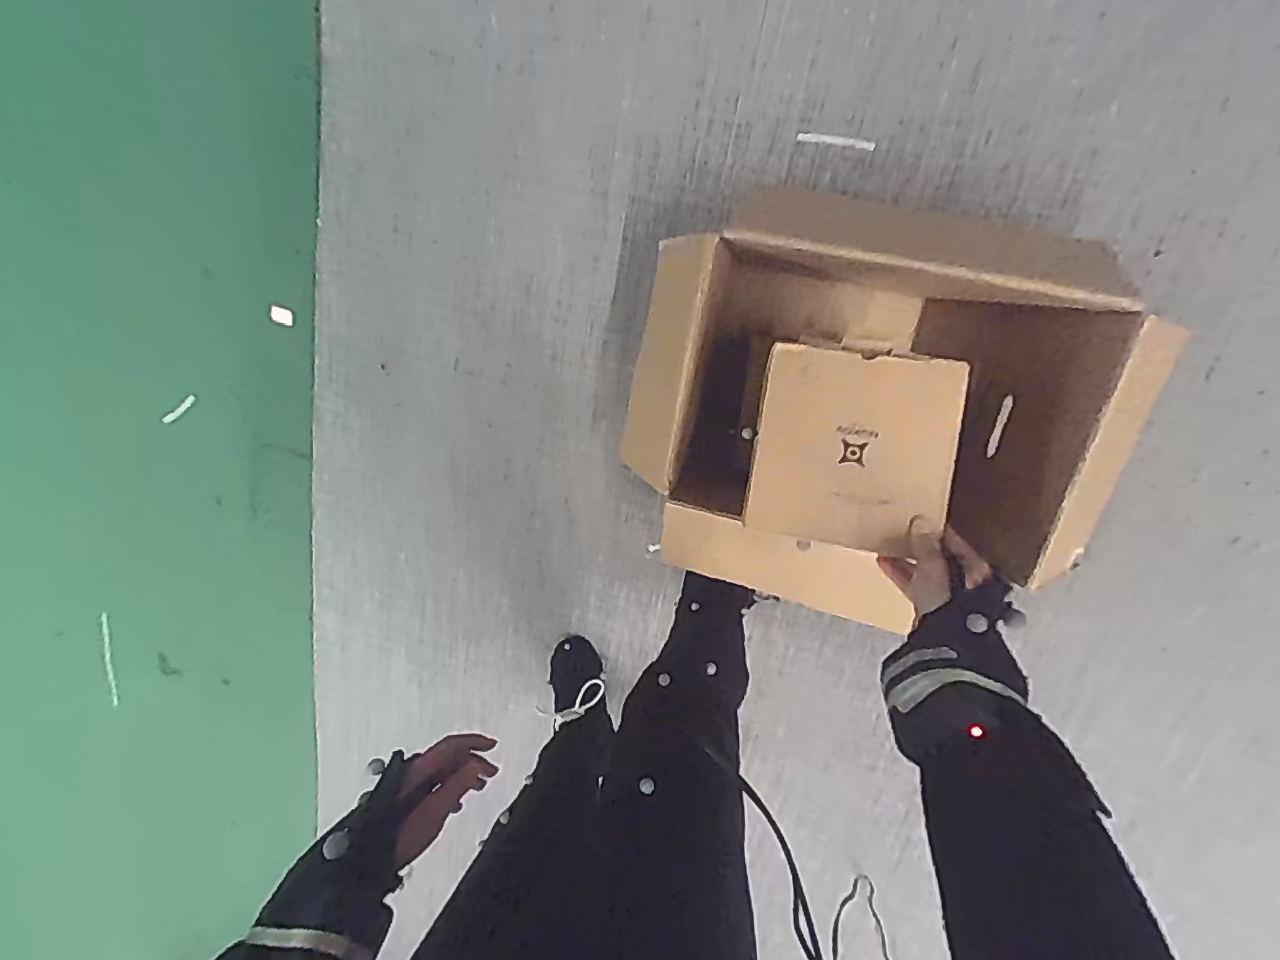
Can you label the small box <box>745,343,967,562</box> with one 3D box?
[{"bbox_3d":[0.203,-0.023,0.556,0.168,0.176,0.179,9,89,9],"label":"small box"}]
